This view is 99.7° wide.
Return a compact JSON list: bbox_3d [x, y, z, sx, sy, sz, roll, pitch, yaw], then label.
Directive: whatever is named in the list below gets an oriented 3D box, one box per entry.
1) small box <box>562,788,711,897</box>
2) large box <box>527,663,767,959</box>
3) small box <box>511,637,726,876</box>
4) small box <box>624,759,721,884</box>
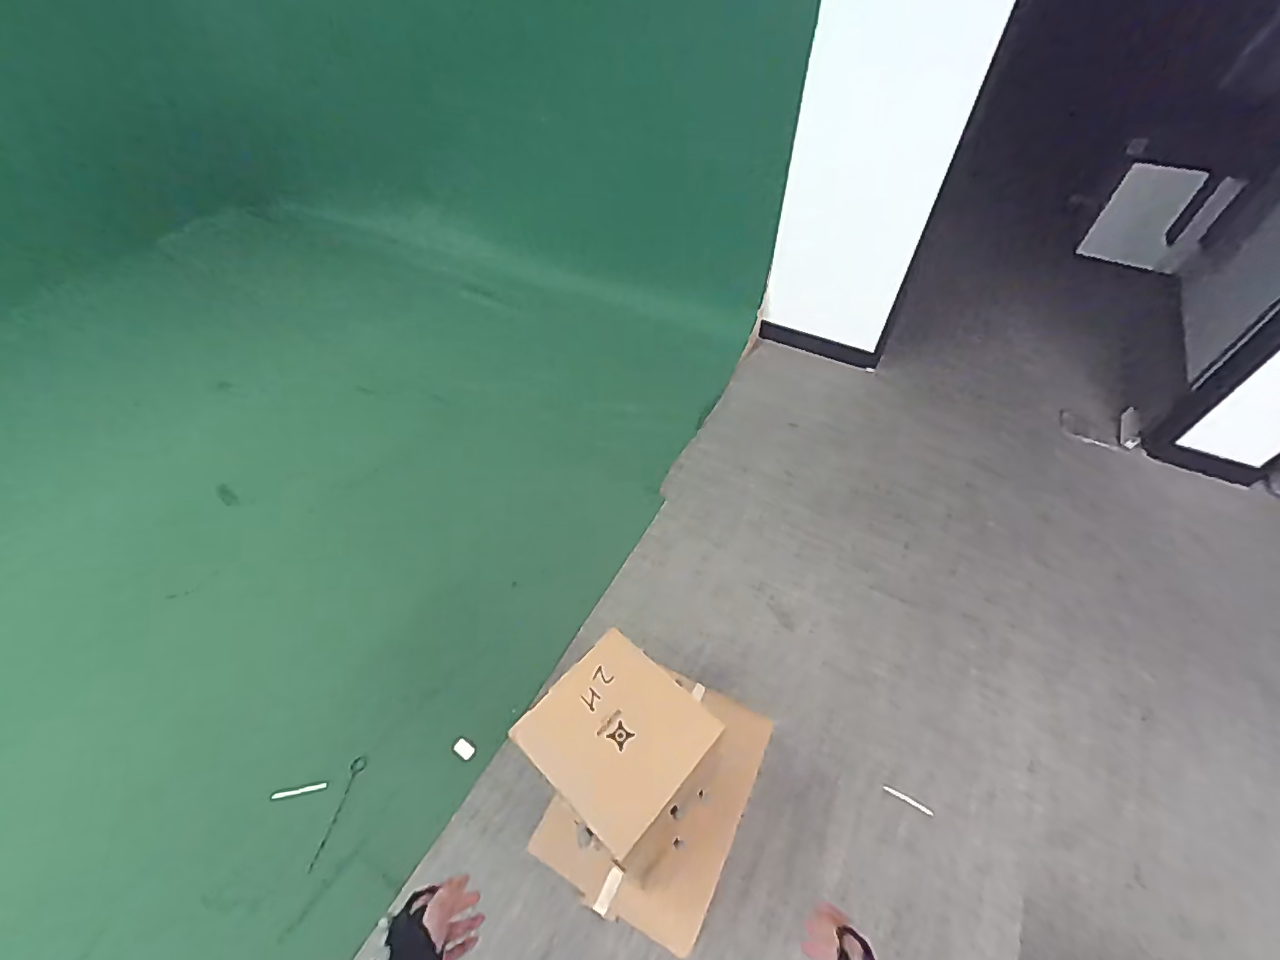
[{"bbox_3d":[-0.005,0.541,0.892,0.168,0.176,0.179,32,59,24],"label":"small box"},{"bbox_3d":[0.029,0.659,1.107,0.320,0.320,0.408,22,54,18],"label":"large box"},{"bbox_3d":[-0.021,0.328,0.644,0.179,0.176,0.168,35,60,26],"label":"small box"},{"bbox_3d":[-0.008,0.431,0.771,0.168,0.176,0.179,35,61,27],"label":"small box"}]
